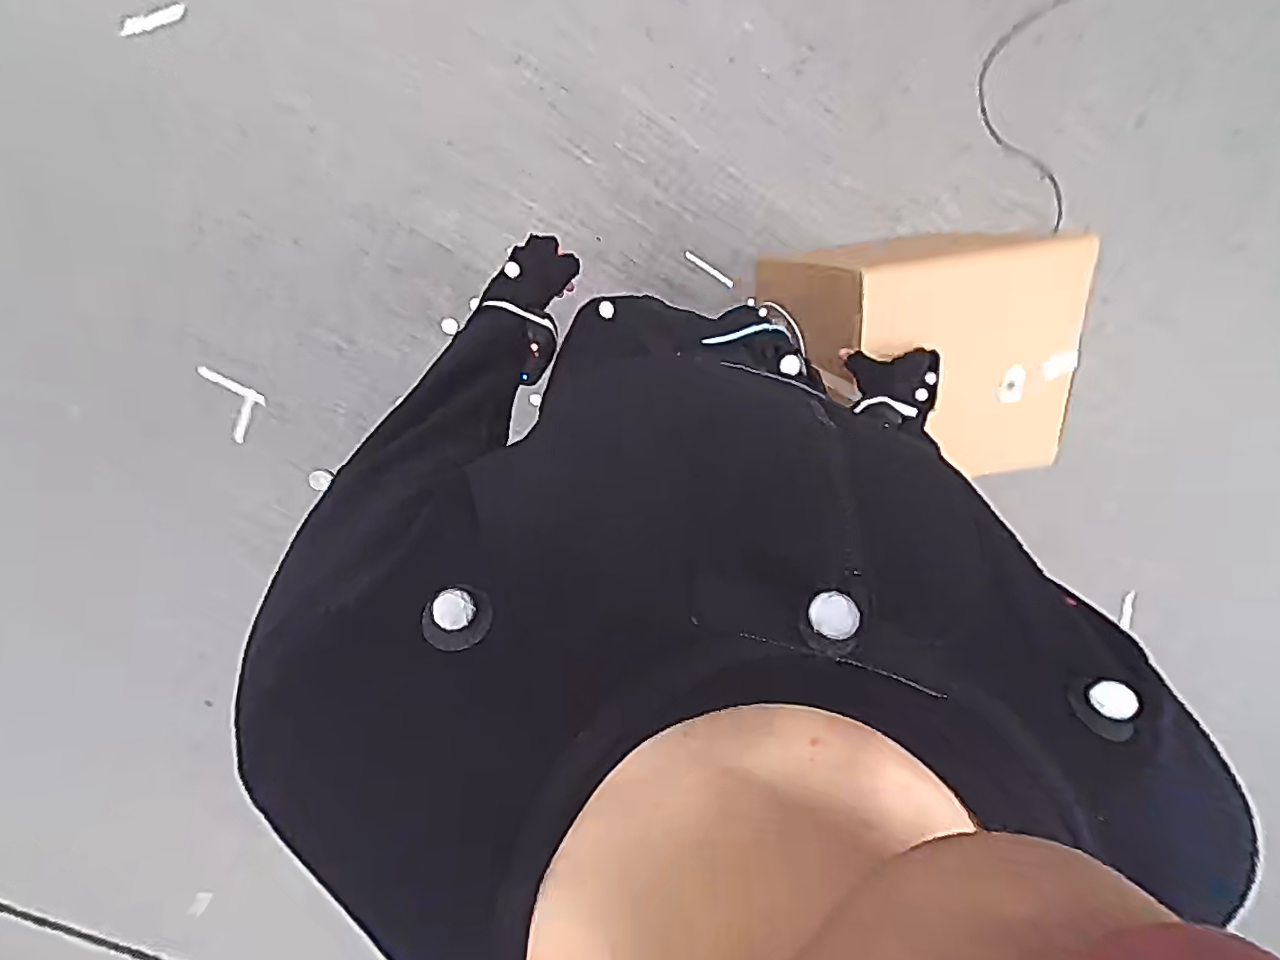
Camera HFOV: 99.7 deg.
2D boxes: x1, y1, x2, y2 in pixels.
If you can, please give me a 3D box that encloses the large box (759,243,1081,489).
[{"bbox_3d":[0.415,-0.219,0.916,0.320,0.408,0.320,-7,116,-4],"label":"large box"}]
